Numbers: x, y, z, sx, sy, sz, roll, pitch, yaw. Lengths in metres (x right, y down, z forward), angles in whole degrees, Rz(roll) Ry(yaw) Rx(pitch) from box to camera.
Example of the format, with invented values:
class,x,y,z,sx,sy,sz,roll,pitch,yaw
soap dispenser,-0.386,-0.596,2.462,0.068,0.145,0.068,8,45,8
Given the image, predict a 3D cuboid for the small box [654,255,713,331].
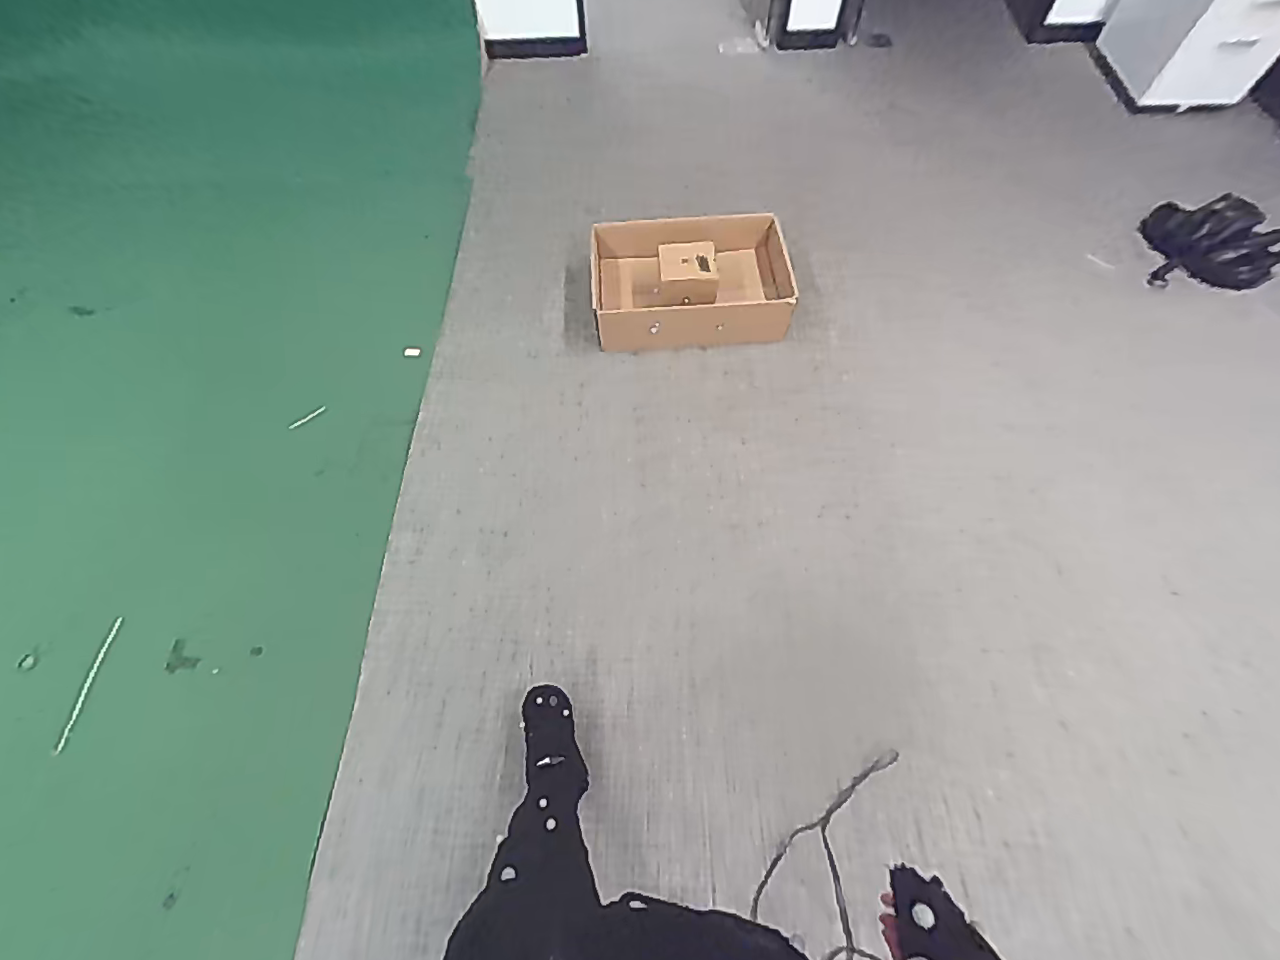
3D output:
class,x,y,z,sx,sy,sz,roll,pitch,yaw
small box,0.136,-0.601,1.746,0.179,0.176,0.168,-2,60,1
